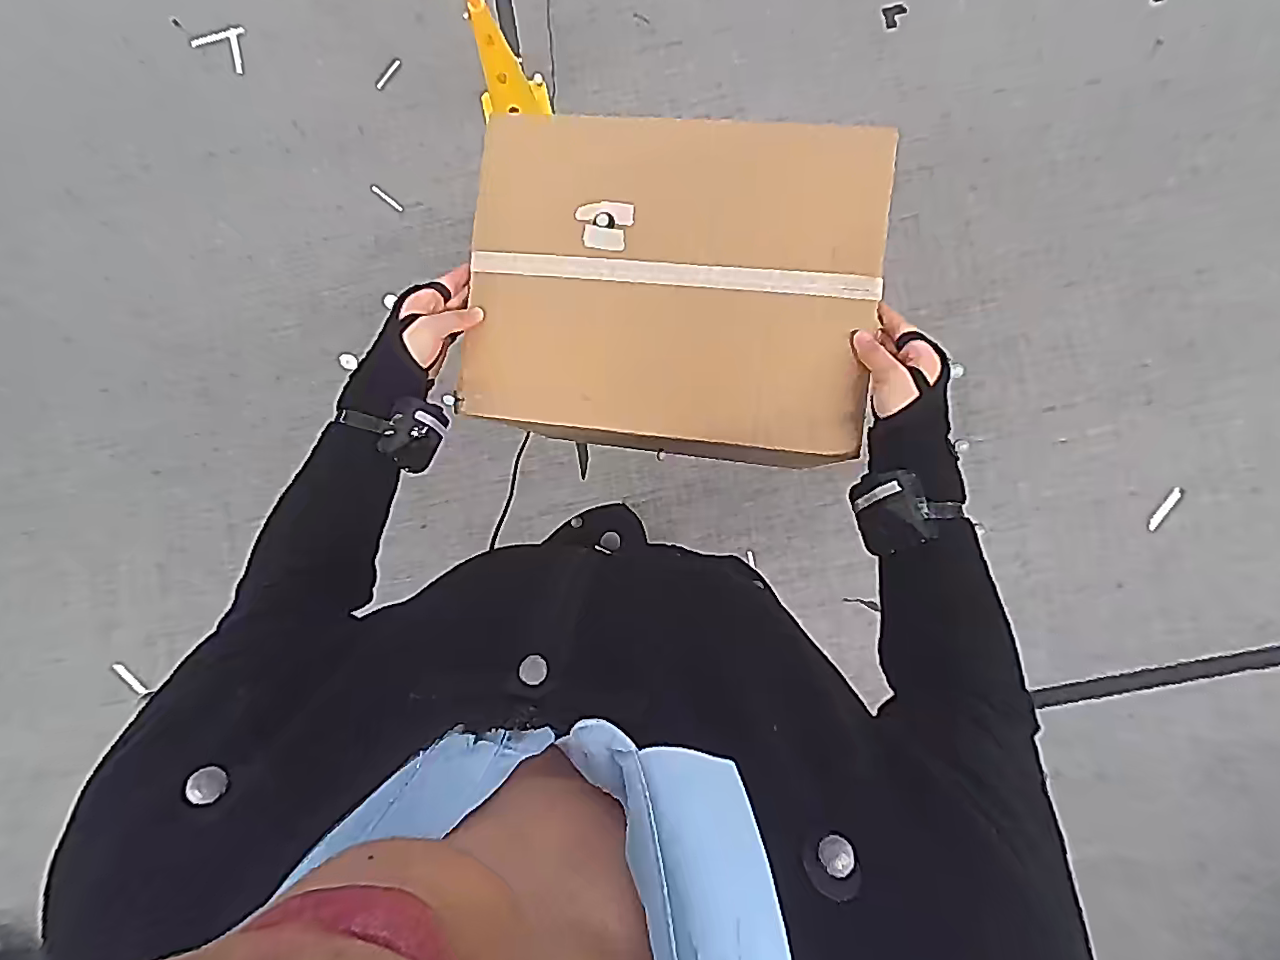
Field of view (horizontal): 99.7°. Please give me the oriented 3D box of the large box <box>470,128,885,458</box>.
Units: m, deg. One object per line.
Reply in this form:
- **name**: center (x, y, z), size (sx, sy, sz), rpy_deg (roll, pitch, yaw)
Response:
- **large box**: center (0.050, -0.201, 0.693), size (0.408, 0.320, 0.320), rpy_deg (6, 89, 8)
